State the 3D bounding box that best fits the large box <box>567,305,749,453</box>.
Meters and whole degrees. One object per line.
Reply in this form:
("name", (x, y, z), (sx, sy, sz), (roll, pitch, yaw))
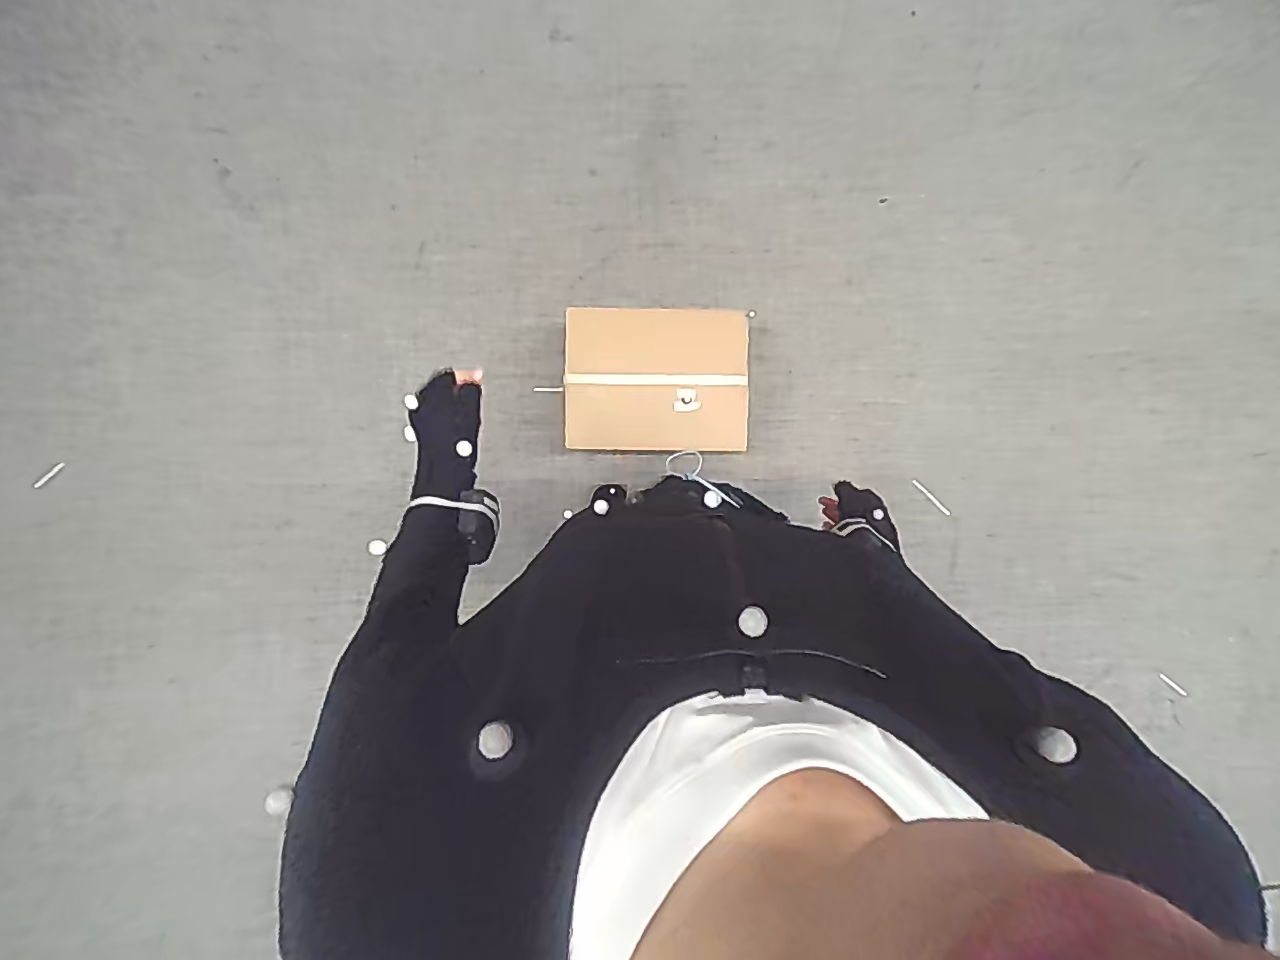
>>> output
("large box", (0.036, -0.228, 1.333), (0.408, 0.320, 0.320), (1, 91, -1))
